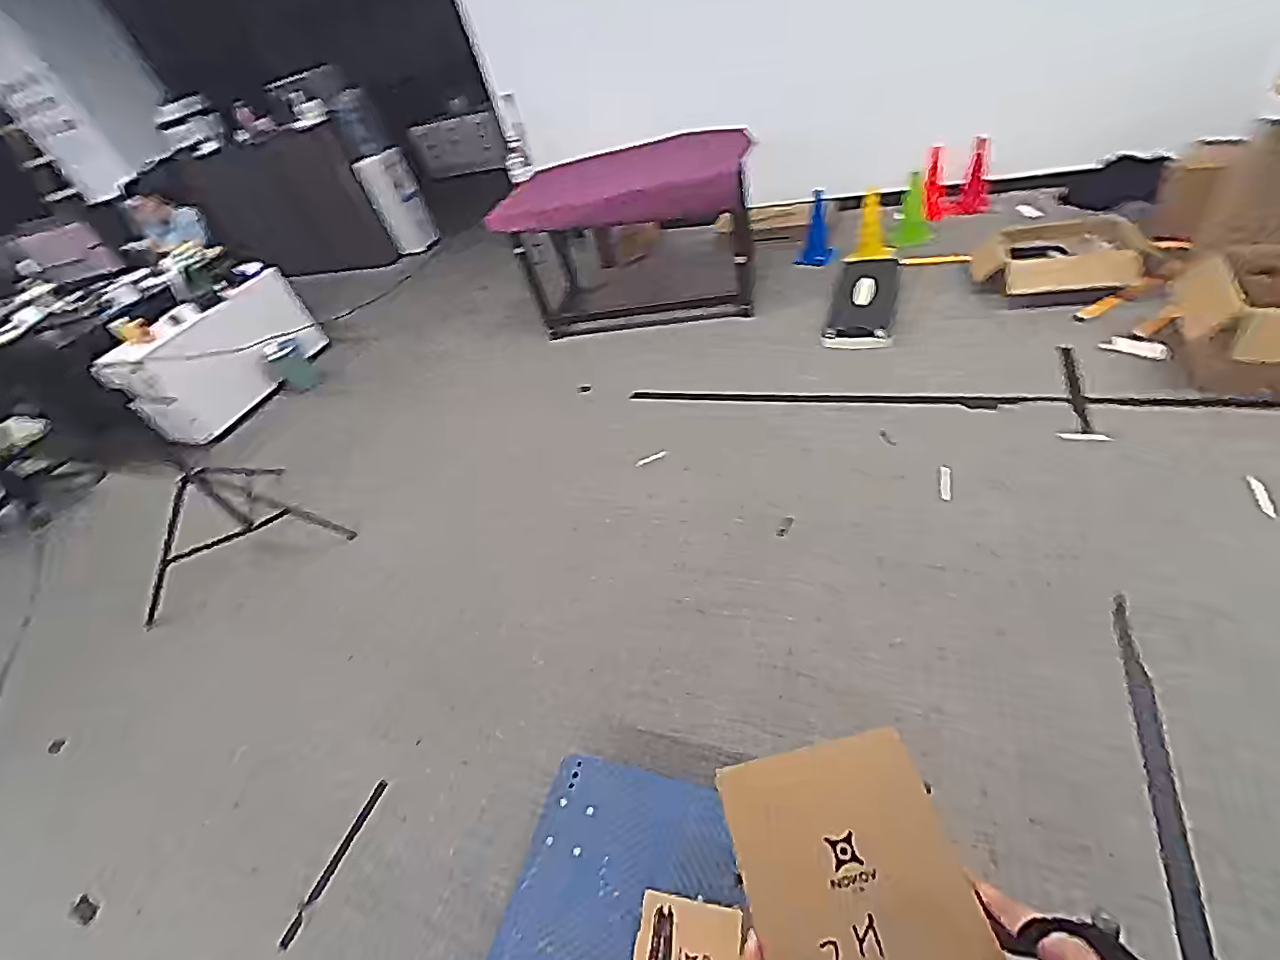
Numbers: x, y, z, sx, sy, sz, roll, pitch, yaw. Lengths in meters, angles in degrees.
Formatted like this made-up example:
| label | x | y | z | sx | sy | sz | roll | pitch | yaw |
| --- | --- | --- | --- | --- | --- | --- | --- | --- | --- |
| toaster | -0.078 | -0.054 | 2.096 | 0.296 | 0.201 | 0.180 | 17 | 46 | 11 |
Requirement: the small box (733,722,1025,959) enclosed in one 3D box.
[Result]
| label | x | y | z | sx | sy | sz | roll | pitch | yaw |
| --- | --- | --- | --- | --- | --- | --- | --- | --- | --- |
| small box | 0.184 | 0.343 | 0.475 | 0.168 | 0.176 | 0.179 | -14 | 49 | 1 |
